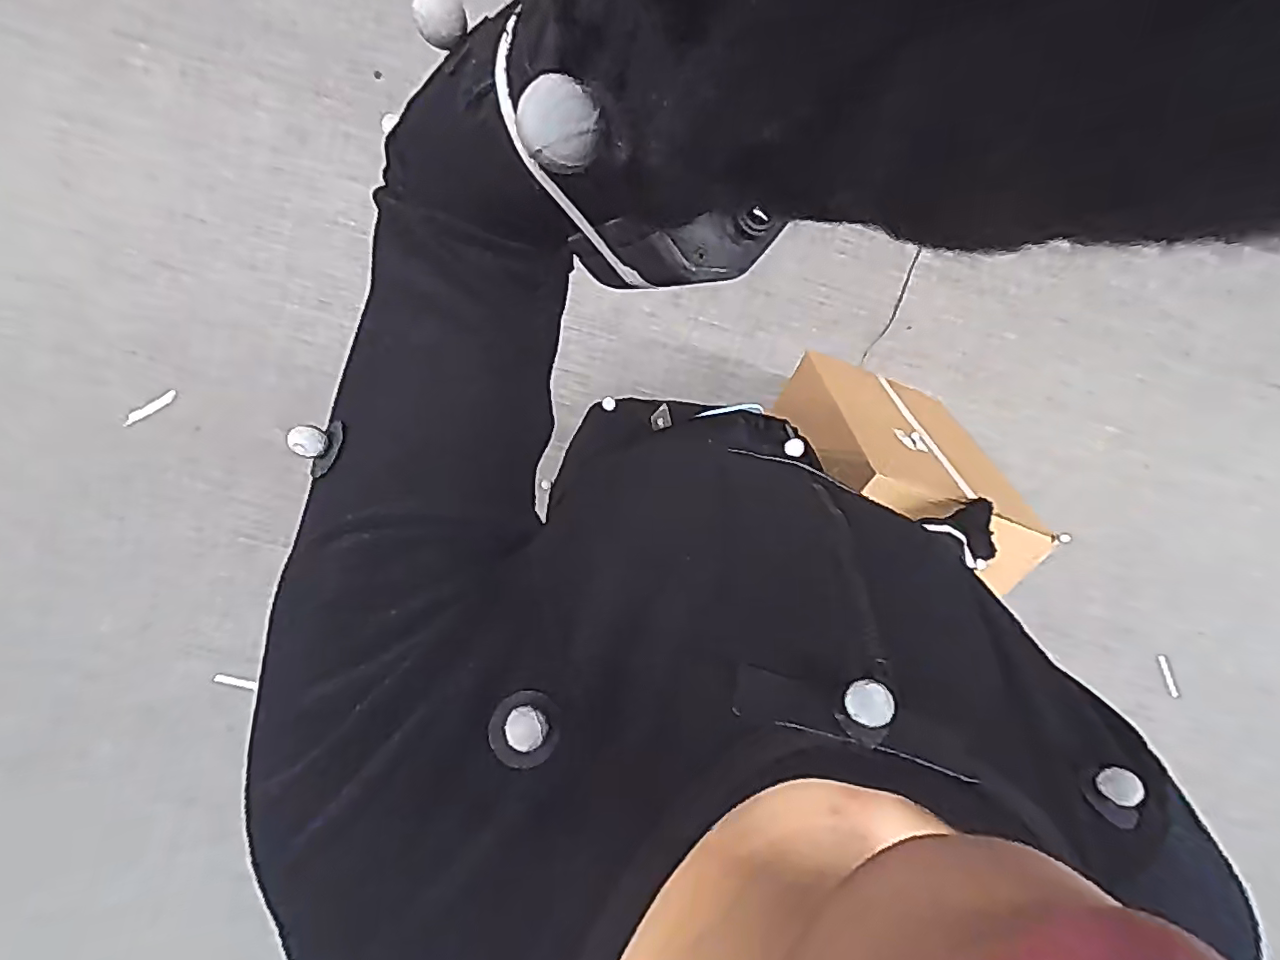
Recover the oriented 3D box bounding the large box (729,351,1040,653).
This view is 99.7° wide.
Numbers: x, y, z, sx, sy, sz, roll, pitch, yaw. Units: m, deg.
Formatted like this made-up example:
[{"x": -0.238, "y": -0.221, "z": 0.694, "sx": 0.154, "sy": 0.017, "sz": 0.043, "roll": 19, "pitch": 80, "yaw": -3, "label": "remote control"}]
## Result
[{"x": 0.383, "y": 0.031, "z": 0.983, "sx": 0.320, "sy": 0.408, "sz": 0.320, "roll": 18, "pitch": 126, "yaw": -11, "label": "large box"}]
